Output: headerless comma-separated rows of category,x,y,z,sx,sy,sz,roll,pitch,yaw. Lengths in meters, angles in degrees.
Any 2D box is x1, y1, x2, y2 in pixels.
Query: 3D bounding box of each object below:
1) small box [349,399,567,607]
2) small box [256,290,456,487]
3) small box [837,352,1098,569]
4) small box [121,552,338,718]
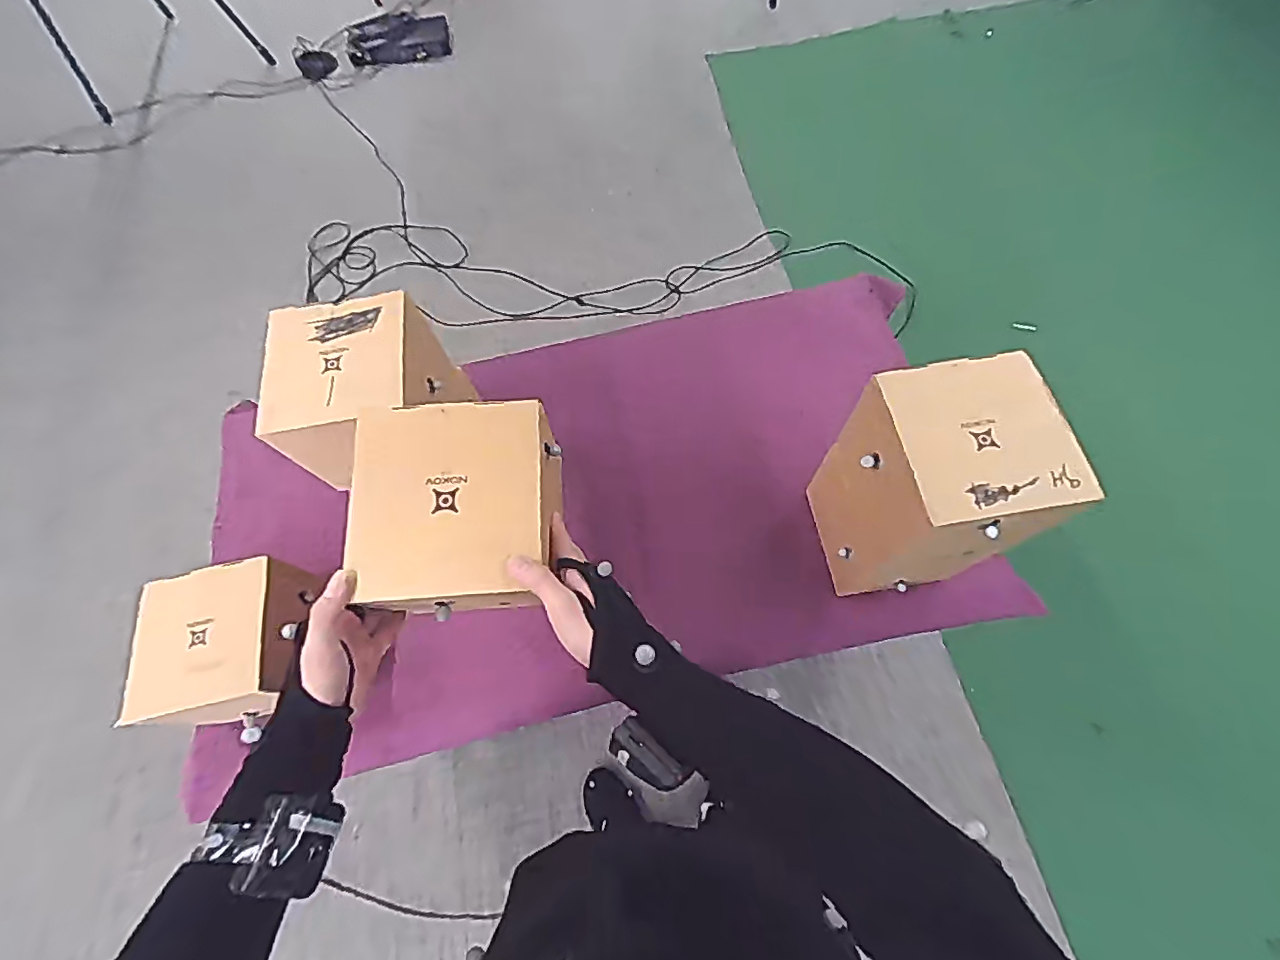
small box,-0.165,0.035,0.547,0.168,0.176,0.179,-3,73,-2
small box,-0.346,-0.111,0.696,0.168,0.176,0.179,-9,68,-1
small box,0.341,-0.015,0.610,0.168,0.176,0.179,-9,66,1
small box,-0.543,0.219,0.745,0.168,0.176,0.179,-13,66,-2
